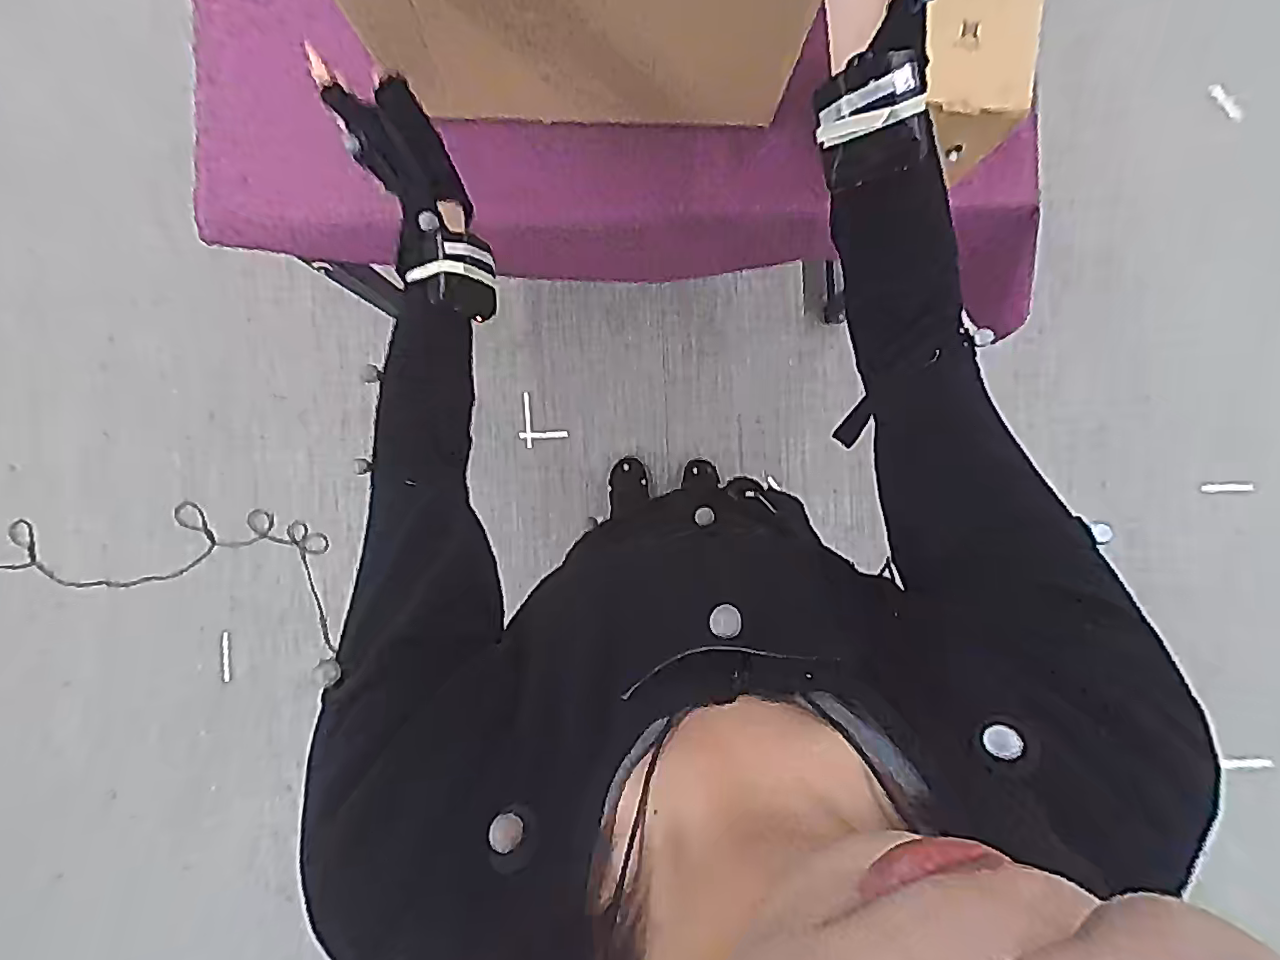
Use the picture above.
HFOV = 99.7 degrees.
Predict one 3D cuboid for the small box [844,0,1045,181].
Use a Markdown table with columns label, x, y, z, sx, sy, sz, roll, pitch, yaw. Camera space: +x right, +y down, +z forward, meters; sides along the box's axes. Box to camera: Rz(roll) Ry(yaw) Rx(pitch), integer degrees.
| label | x | y | z | sx | sy | sz | roll | pitch | yaw |
| --- | --- | --- | --- | --- | --- | --- | --- | --- | --- |
| small box | 0.383 | -0.524 | 0.708 | 0.168 | 0.176 | 0.179 | 5 | 89 | -2 |
